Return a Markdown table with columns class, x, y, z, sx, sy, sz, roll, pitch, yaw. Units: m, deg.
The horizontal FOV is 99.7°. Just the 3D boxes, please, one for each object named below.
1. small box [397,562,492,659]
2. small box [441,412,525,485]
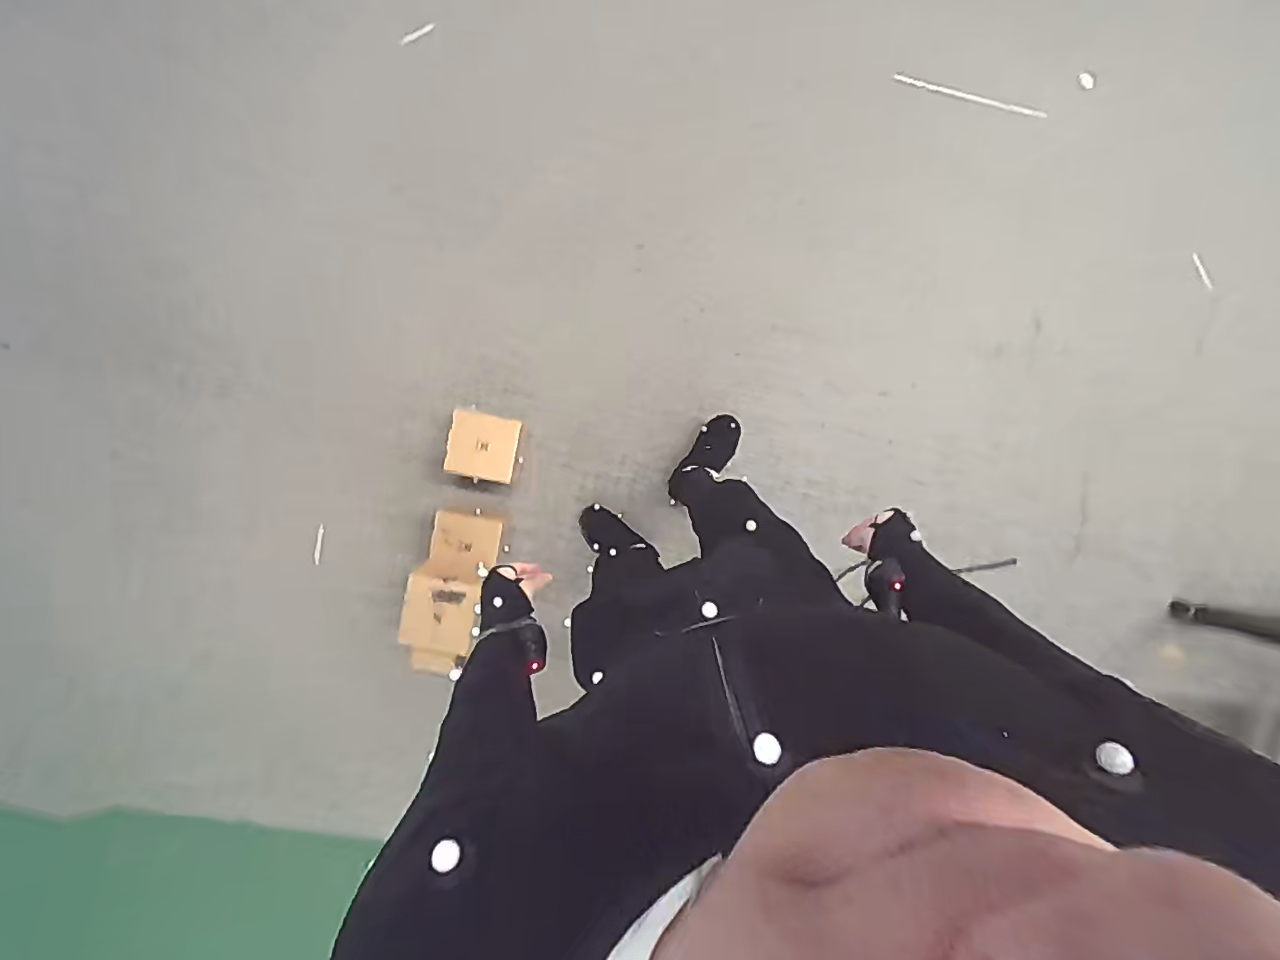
| class | x | y | z | sx | sy | sz | roll | pitch | yaw |
| --- | --- | --- | --- | --- | --- | --- | --- | --- | --- |
| small box | -0.472 | 0.313 | 1.330 | 0.168 | 0.176 | 0.179 | 12 | 94 | -5 |
| small box | -0.417 | -0.089 | 1.467 | 0.179 | 0.176 | 0.168 | 10 | 94 | -5 |
